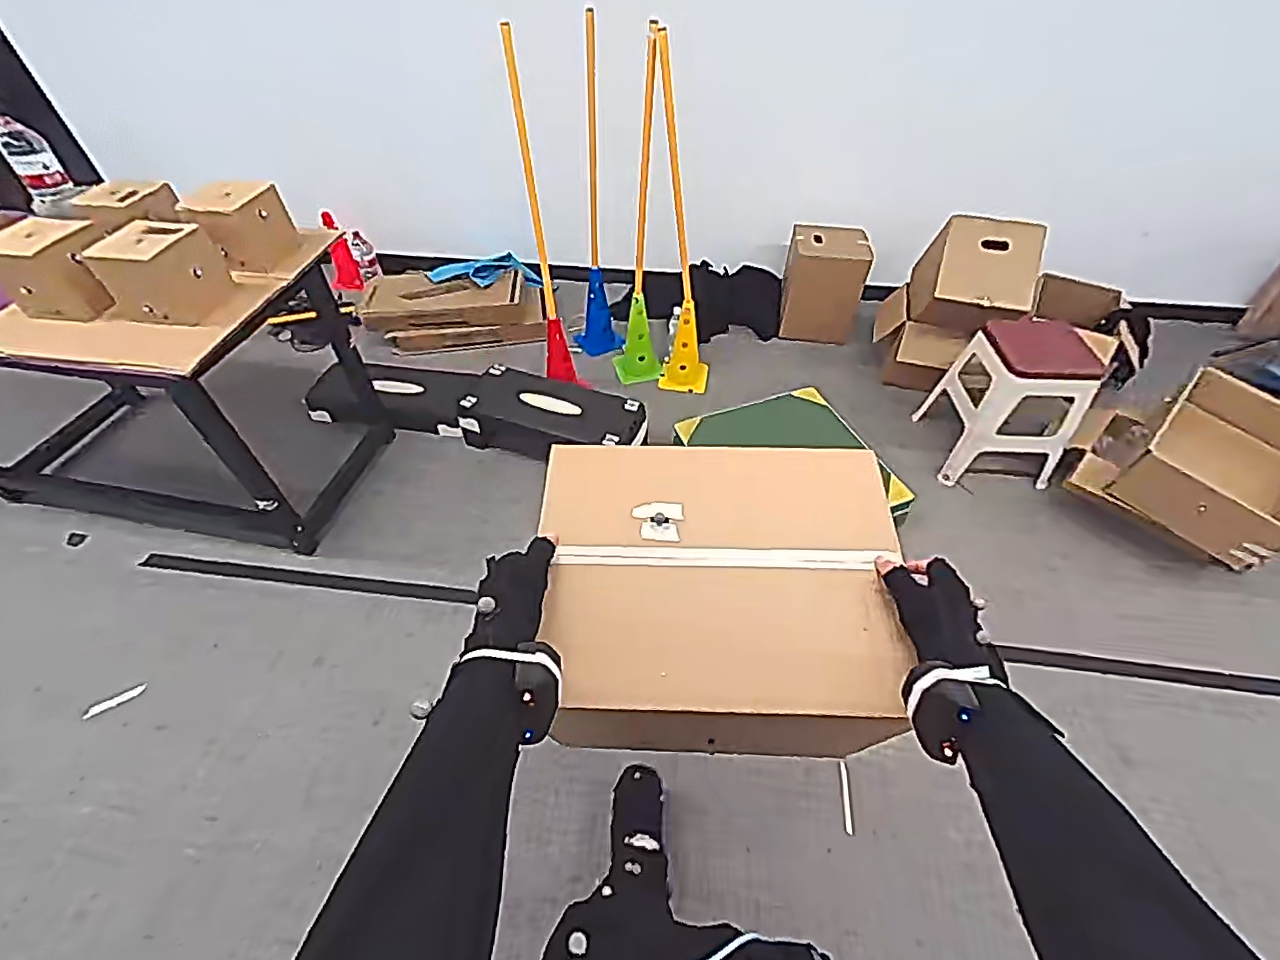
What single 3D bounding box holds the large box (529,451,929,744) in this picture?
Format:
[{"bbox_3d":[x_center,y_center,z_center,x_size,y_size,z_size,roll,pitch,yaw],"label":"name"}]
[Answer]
[{"bbox_3d":[0.095,0.172,0.738,0.408,0.320,0.320,1,56,2],"label":"large box"}]
